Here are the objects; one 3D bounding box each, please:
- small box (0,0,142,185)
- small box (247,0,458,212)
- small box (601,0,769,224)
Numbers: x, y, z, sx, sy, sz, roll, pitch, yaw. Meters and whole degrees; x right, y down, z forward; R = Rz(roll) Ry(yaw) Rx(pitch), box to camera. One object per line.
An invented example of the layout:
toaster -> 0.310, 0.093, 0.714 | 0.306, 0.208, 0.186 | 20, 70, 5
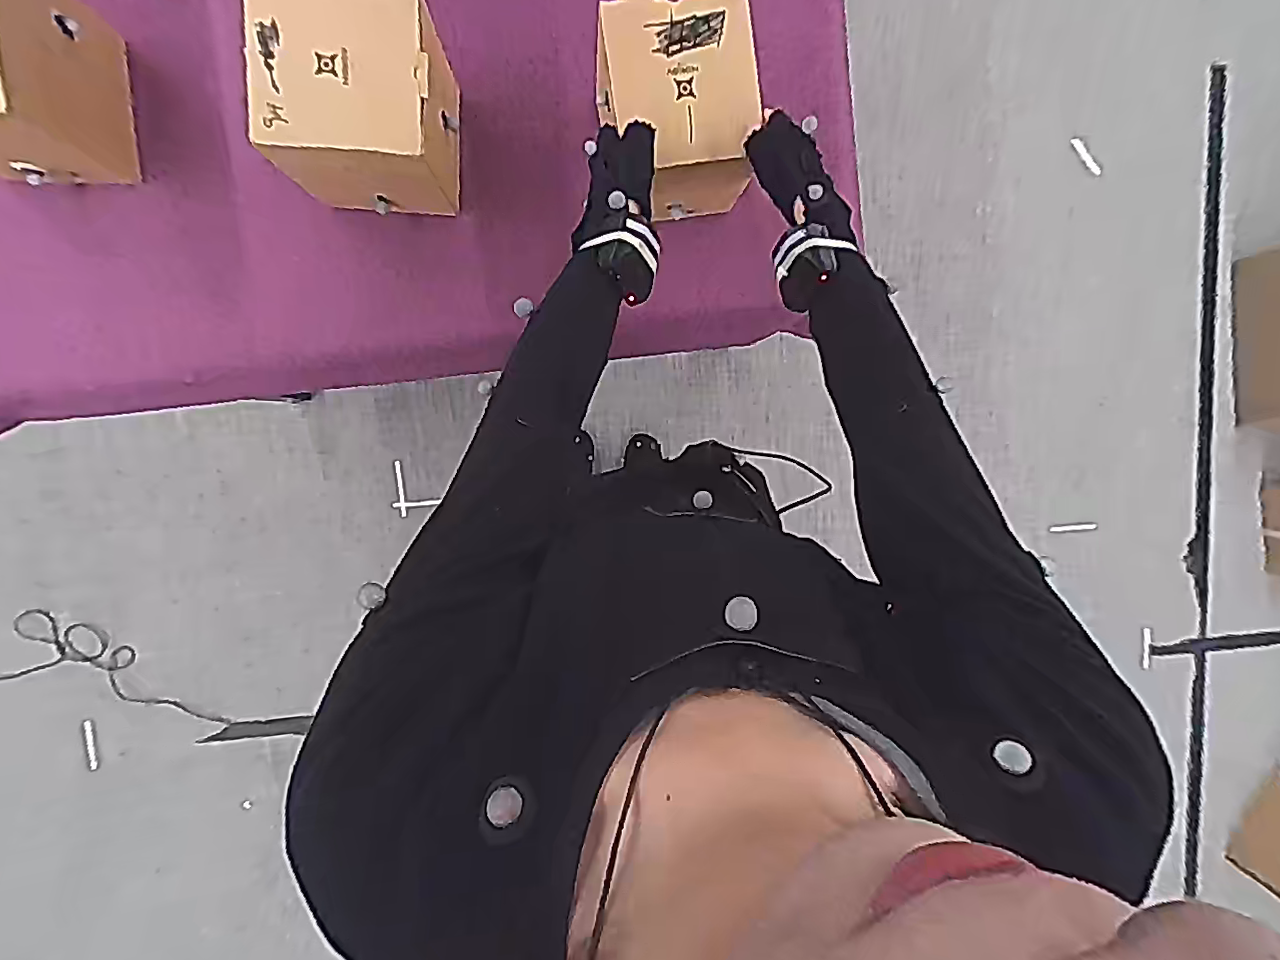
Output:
small box -> -0.707, -0.454, 0.594 | 0.168, 0.176, 0.179 | -2, 97, -4
small box -> -0.318, -0.433, 0.634 | 0.179, 0.176, 0.168 | 1, 95, -6
small box -> 0.045, -0.443, 0.667 | 0.168, 0.176, 0.179 | -9, 97, -4
